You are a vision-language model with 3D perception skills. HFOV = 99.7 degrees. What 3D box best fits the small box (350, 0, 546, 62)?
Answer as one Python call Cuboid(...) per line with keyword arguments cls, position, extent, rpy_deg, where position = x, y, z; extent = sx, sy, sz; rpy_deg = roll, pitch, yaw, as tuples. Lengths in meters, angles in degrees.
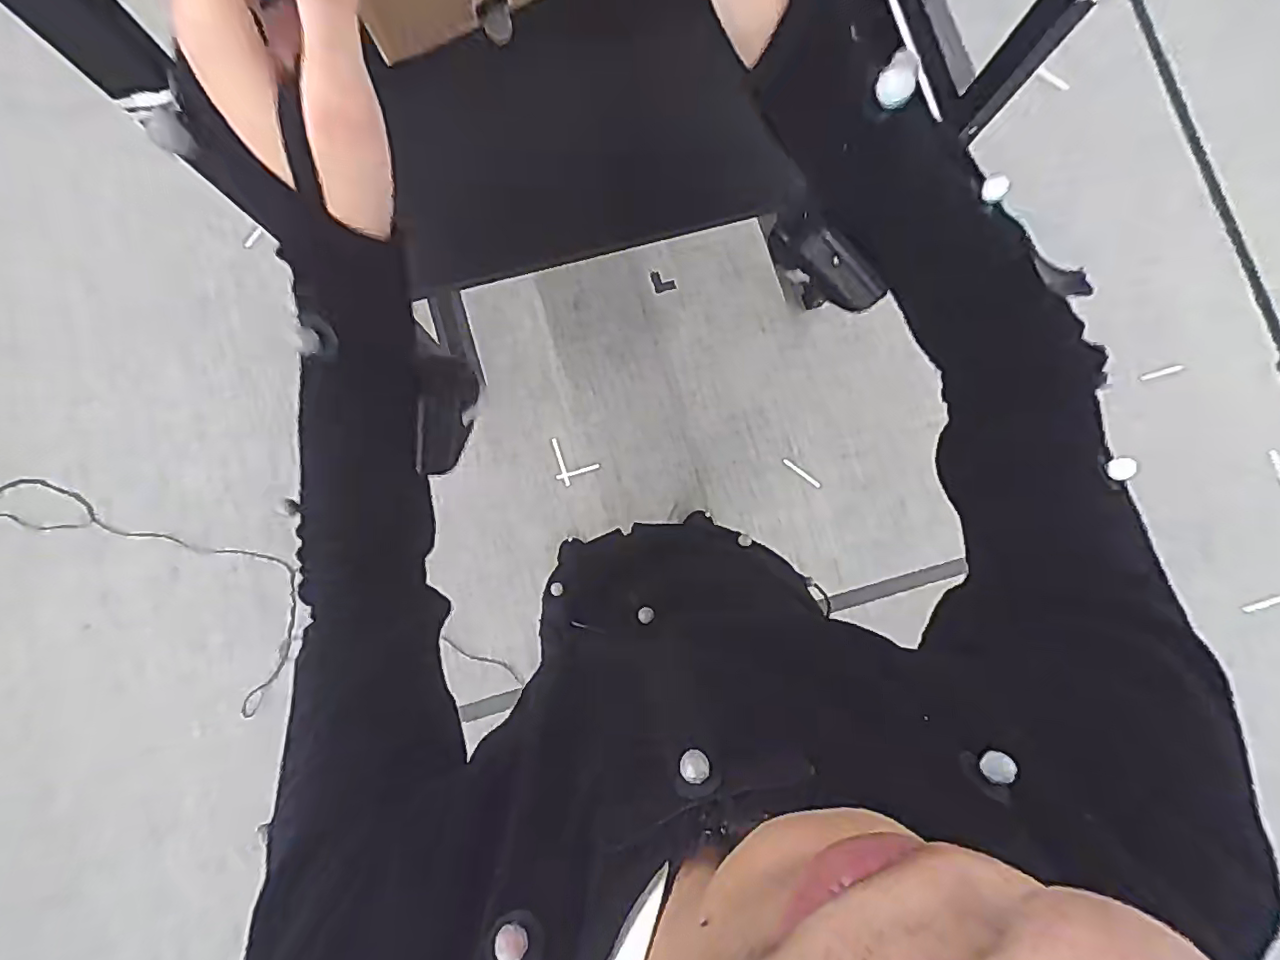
Cuboid(cls="small box", position=(-0.095, -0.325, 0.225), extent=(0.168, 0.176, 0.179), rpy_deg=(-28, 119, -2))
